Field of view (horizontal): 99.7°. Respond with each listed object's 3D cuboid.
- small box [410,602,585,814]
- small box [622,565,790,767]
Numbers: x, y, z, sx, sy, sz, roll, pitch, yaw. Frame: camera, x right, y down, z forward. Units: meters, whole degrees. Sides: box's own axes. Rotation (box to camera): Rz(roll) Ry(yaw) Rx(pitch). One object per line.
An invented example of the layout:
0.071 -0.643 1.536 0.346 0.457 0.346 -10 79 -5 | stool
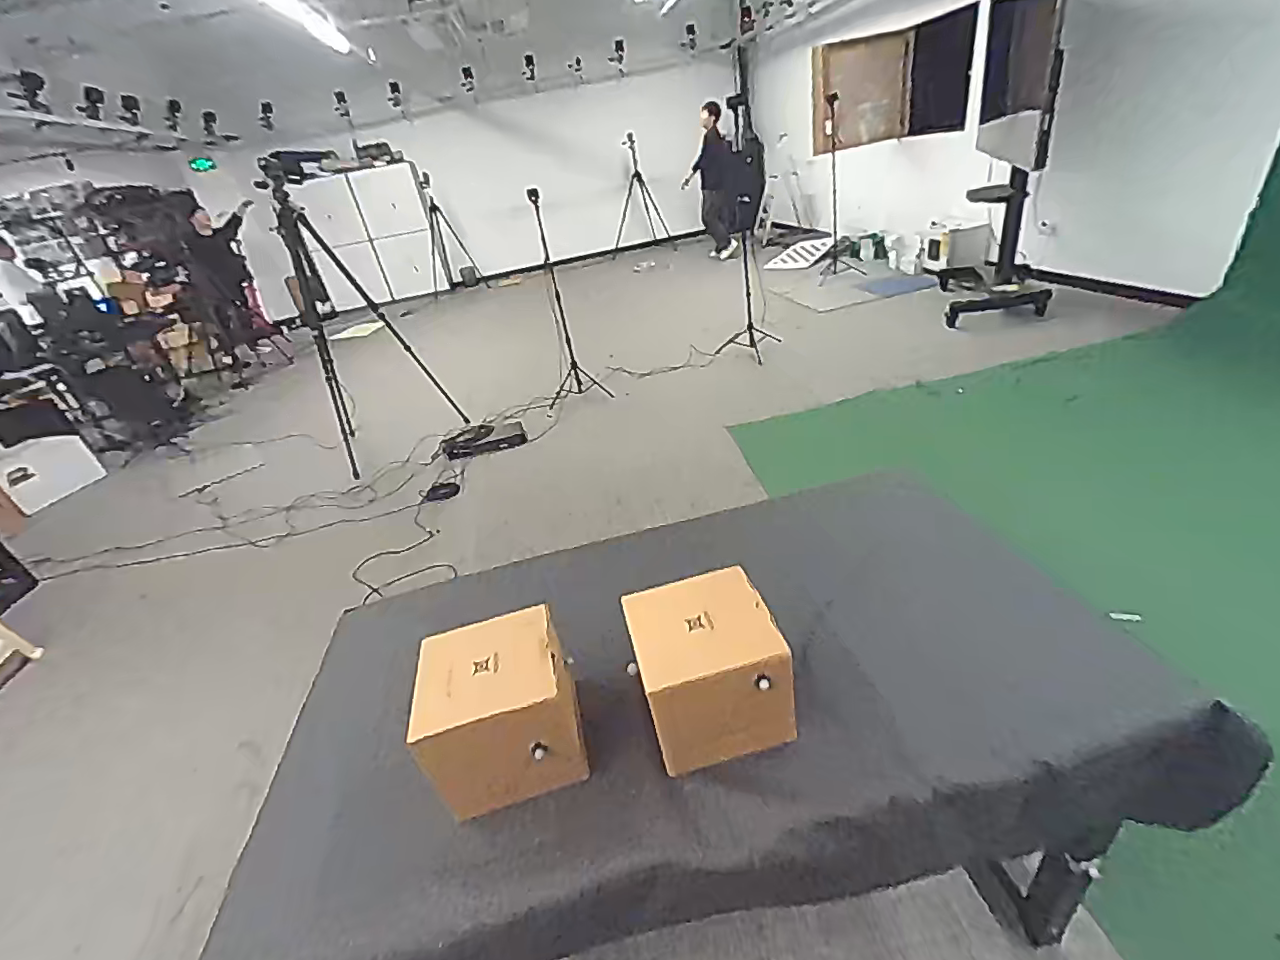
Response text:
-0.178 0.299 0.720 0.179 0.176 0.168 -17 29 -7 | small box
0.087 0.246 0.721 0.179 0.176 0.168 -14 30 -6 | small box
